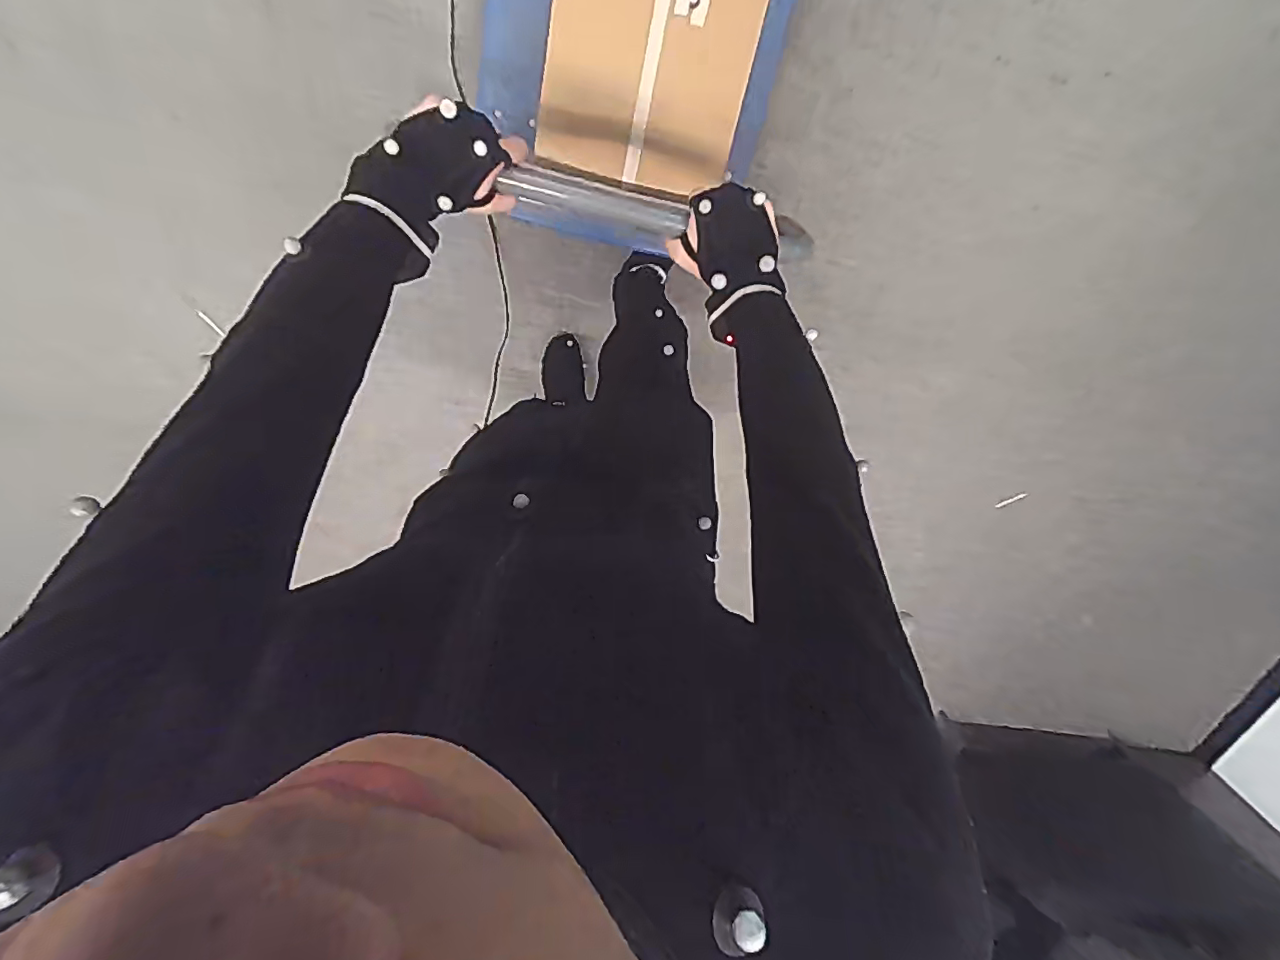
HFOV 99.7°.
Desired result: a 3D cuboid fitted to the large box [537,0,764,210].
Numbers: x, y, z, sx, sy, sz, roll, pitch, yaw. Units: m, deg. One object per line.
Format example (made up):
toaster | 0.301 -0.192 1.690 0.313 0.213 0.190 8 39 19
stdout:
large box | 0.011 -0.732 0.961 0.320 0.320 0.408 10 114 -9
